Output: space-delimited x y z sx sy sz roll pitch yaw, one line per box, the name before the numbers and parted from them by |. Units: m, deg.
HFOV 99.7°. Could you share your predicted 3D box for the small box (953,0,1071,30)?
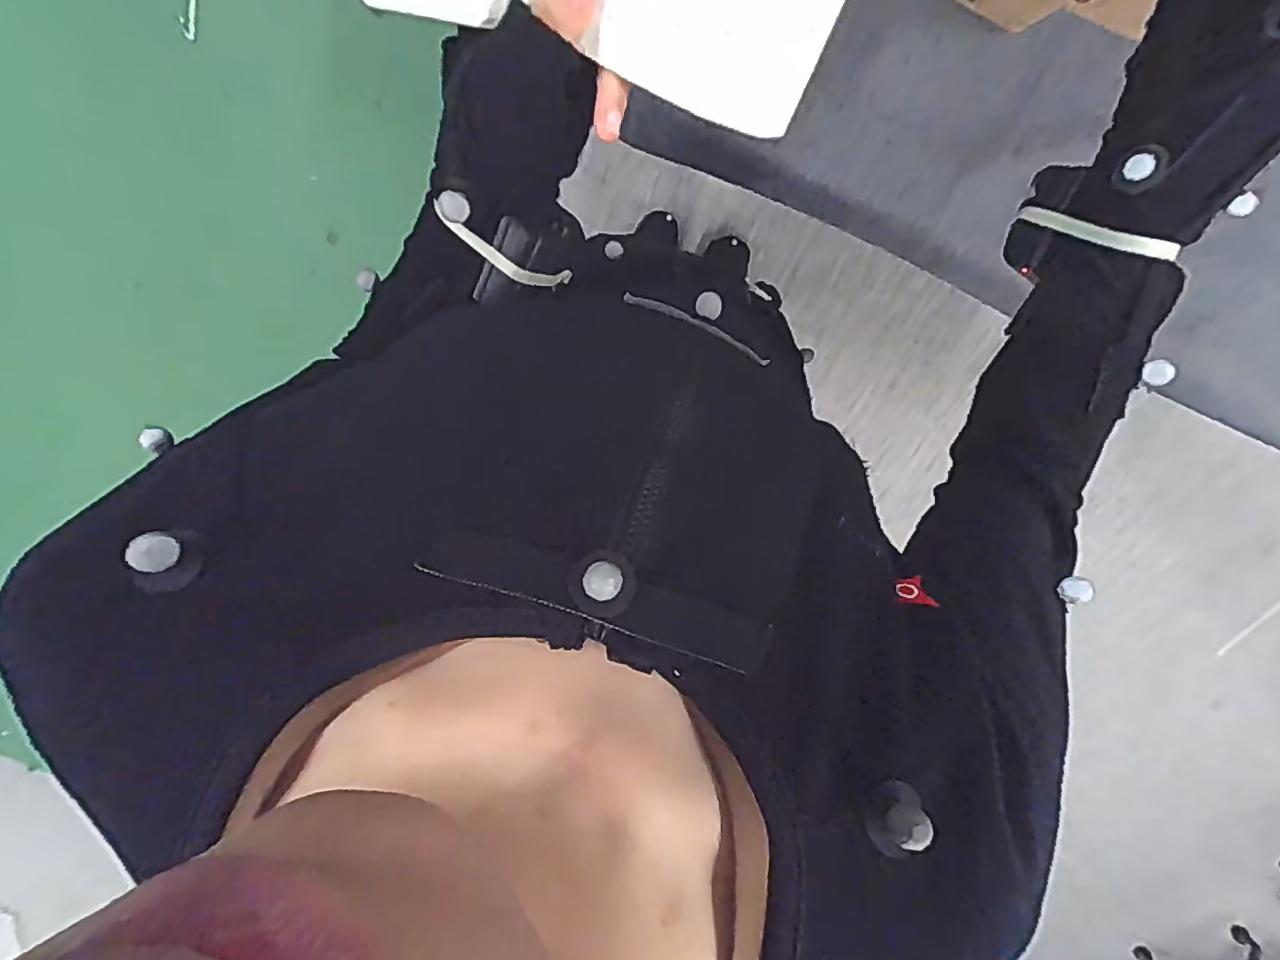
small box | 0.317 -0.495 0.402 0.168 0.176 0.179 24 115 -6
